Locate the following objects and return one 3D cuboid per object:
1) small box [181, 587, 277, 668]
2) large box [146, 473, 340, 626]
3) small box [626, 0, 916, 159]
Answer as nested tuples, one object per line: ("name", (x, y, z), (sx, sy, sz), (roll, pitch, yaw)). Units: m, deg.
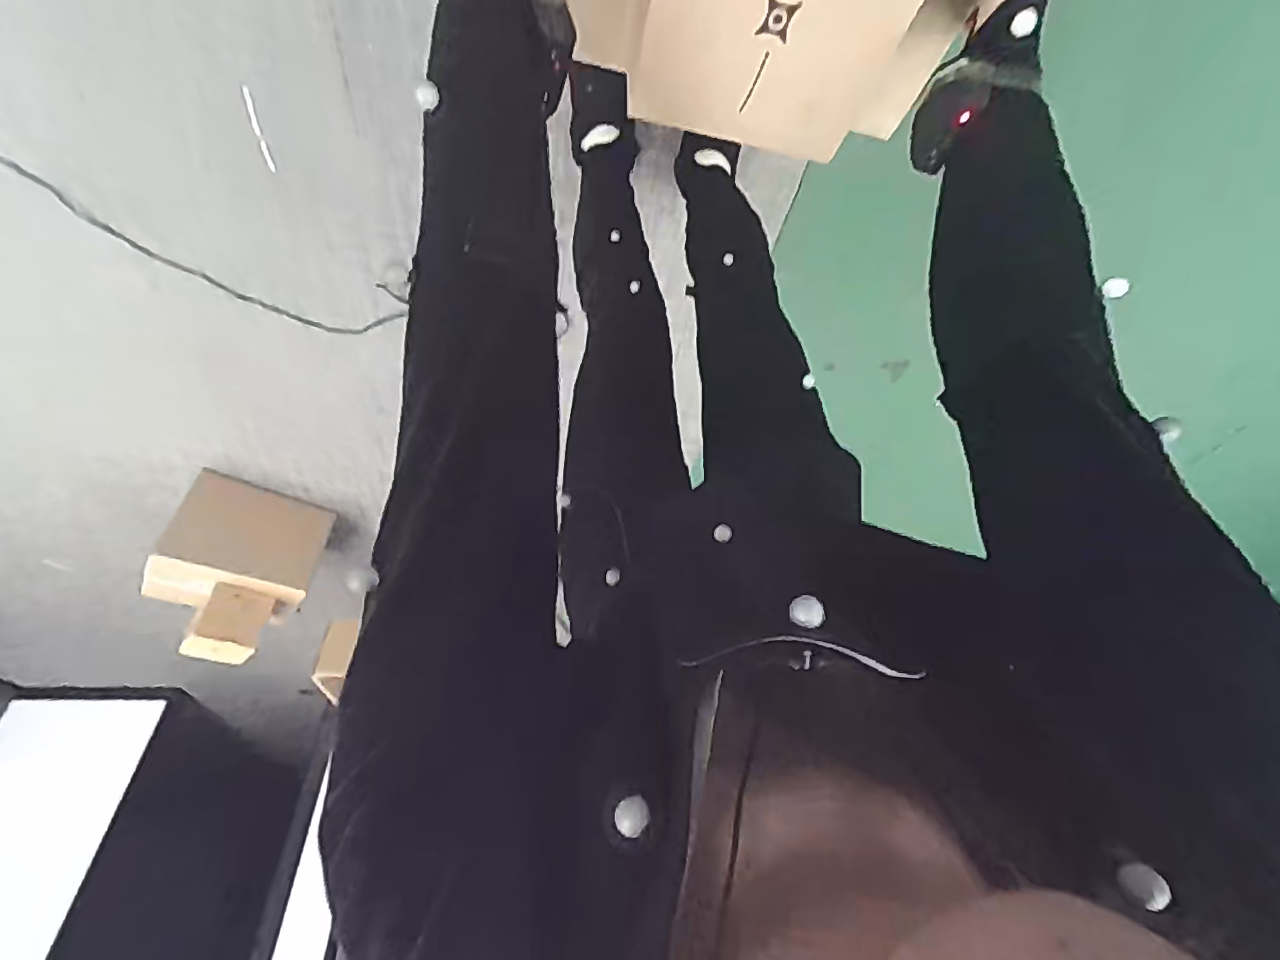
("small box", (-1.240, 0.448, 1.640), (0.168, 0.176, 0.179), (30, 132, -34))
("large box", (-1.275, 0.237, 1.764), (0.408, 0.320, 0.320), (27, 133, -30))
("small box", (0.086, -0.368, 0.366), (0.168, 0.176, 0.179), (6, 154, -12))
